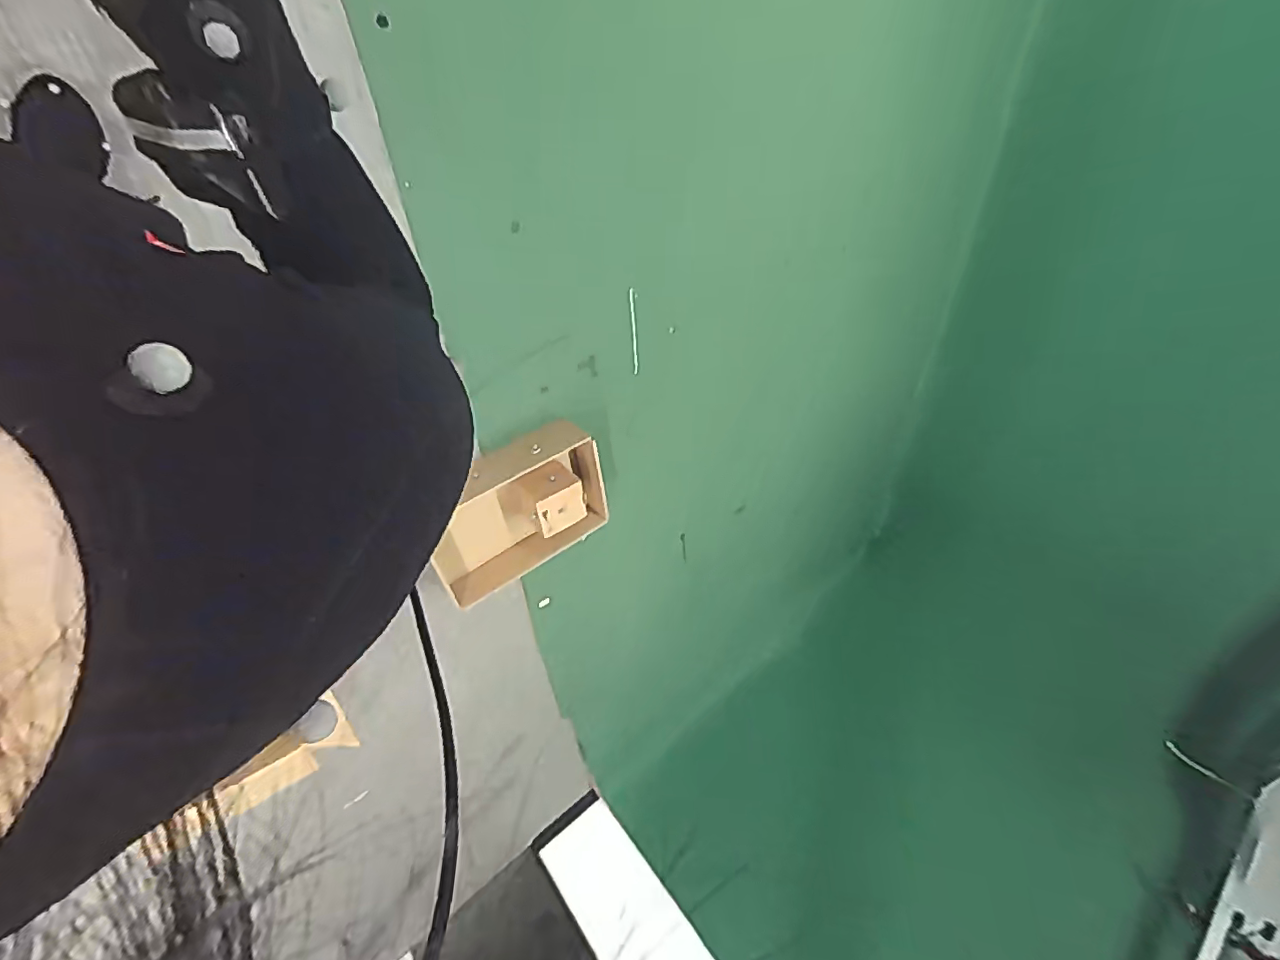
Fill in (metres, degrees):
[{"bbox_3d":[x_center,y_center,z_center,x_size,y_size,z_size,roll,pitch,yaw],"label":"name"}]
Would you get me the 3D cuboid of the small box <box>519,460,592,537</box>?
[{"bbox_3d":[-0.289,0.056,1.850,0.179,0.176,0.168,-29,136,-26],"label":"small box"}]
